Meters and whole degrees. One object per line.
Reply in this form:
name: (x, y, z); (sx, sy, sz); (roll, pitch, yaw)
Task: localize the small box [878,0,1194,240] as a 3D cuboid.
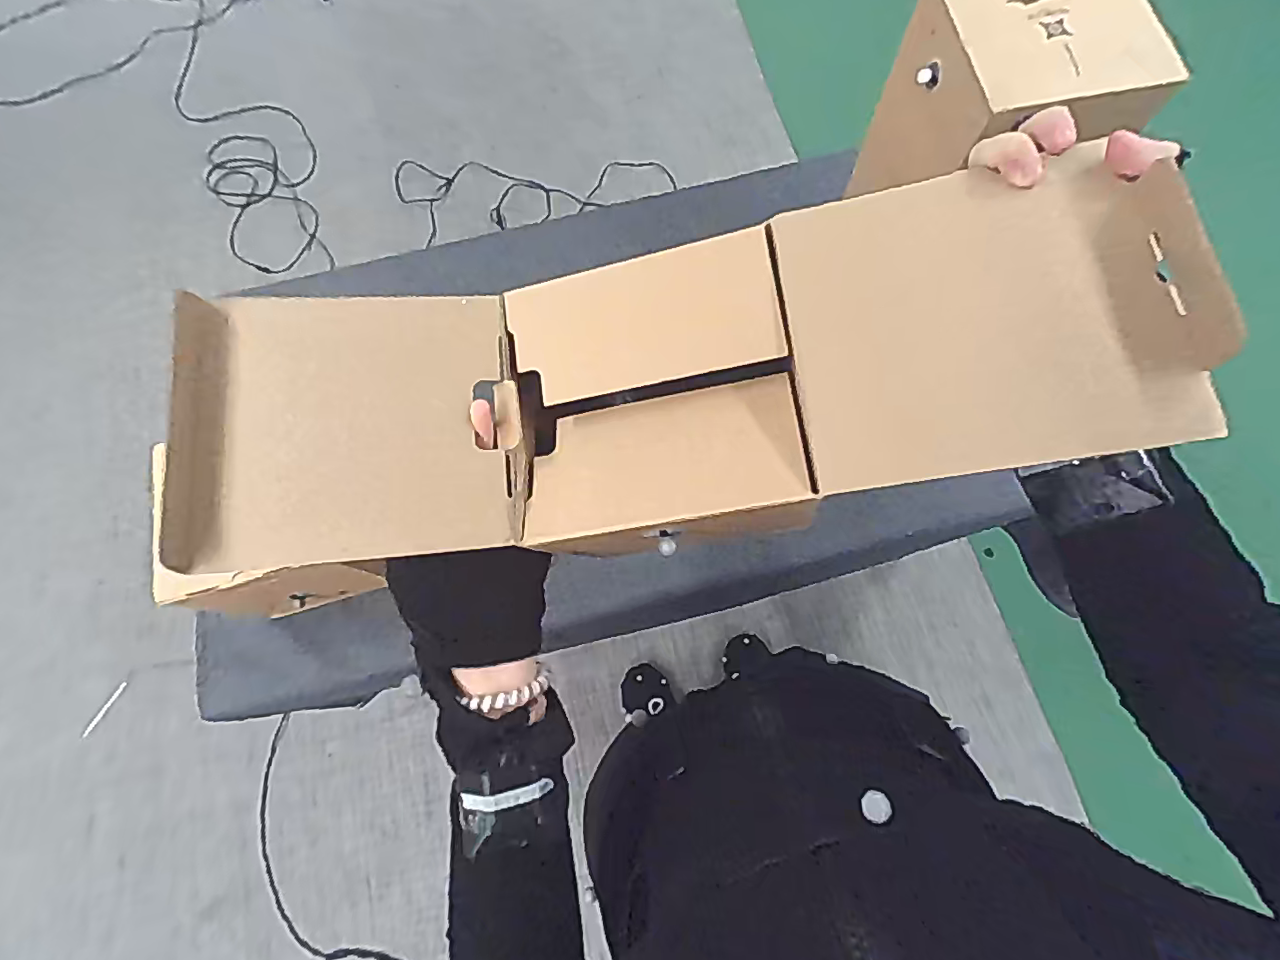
small box: (0.363, -0.376, 0.540); (0.168, 0.176, 0.179); (-9, 74, 1)

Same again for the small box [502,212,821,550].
small box: (0.023, -0.044, 0.382); (0.179, 0.176, 0.168); (-9, 78, 14)

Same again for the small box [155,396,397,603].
small box: (-0.405, 0.032, 0.625); (0.168, 0.176, 0.179); (-16, 73, -3)
